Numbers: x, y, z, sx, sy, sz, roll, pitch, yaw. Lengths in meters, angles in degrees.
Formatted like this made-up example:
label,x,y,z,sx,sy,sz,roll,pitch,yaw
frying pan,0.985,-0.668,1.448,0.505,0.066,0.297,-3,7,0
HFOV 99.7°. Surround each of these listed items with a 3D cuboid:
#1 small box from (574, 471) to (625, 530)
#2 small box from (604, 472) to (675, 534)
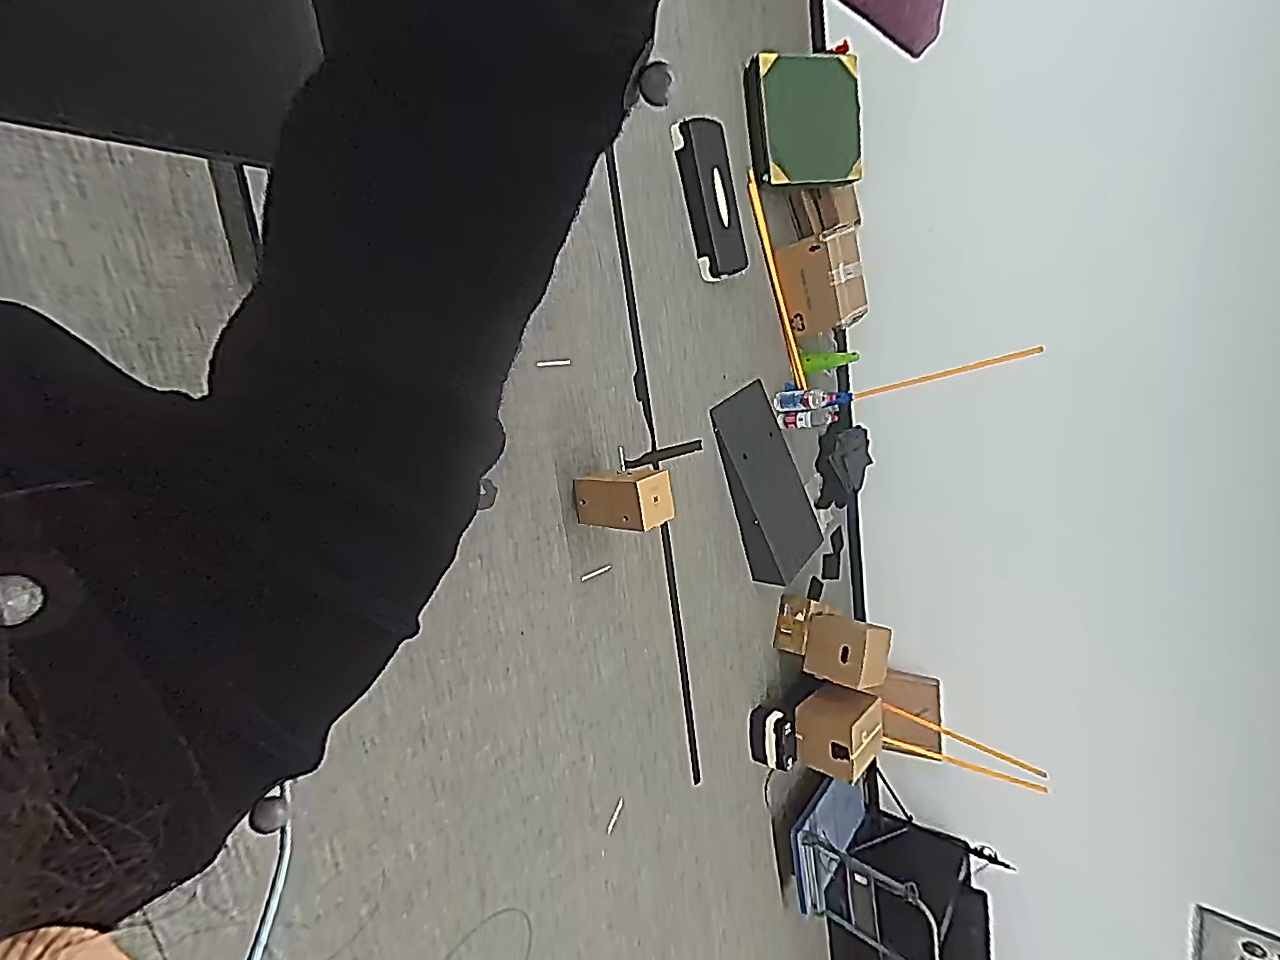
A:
label,x,y,z,sx,sy,sz,roll,pitch,yaw
small box,-0.121,0.070,1.988,0.168,0.176,0.179,-18,105,-45
small box,-0.004,0.074,1.873,0.168,0.176,0.179,-20,106,-45
